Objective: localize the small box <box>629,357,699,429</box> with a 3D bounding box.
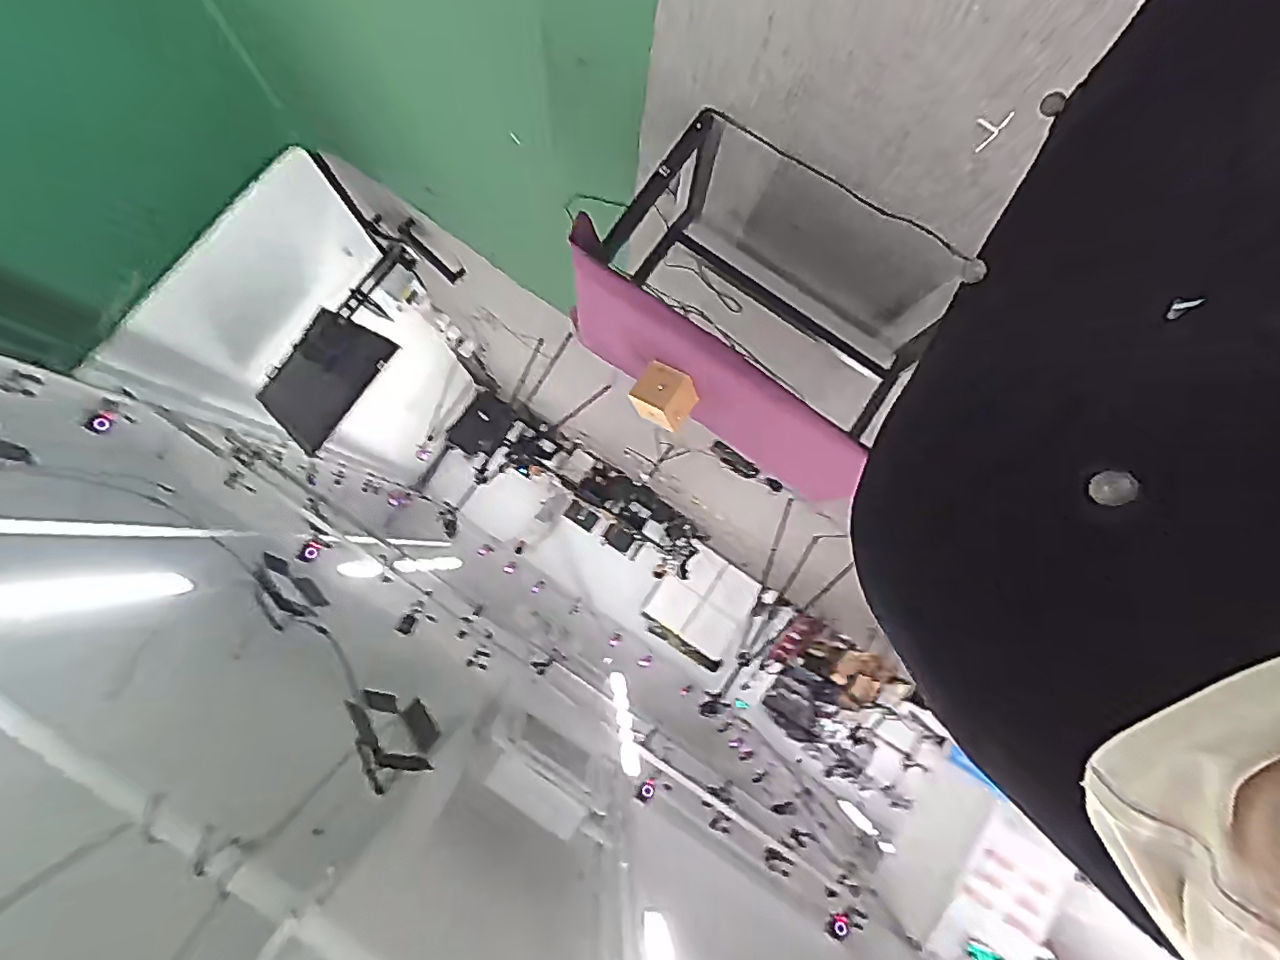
[{"bbox_3d":[0.093,-0.321,1.982,0.168,0.176,0.179,30,171,27],"label":"small box"}]
